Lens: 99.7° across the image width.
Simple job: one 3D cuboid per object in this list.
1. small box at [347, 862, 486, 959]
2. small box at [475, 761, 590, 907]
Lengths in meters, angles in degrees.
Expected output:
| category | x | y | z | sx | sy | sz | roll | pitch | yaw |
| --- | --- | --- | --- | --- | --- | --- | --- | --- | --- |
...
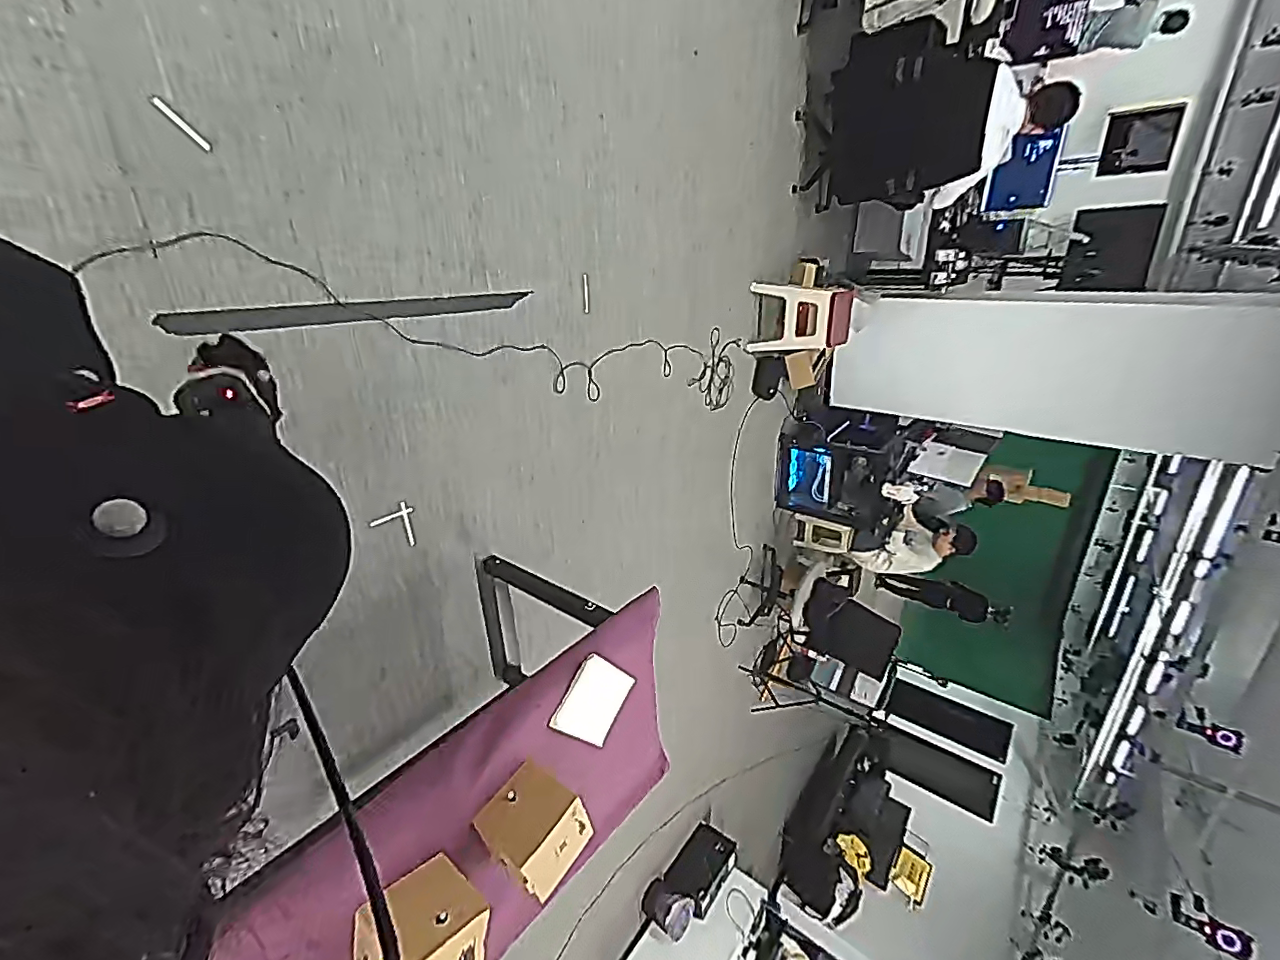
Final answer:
| category | x | y | z | sx | sy | sz | roll | pitch | yaw |
| --- | --- | --- | --- | --- | --- | --- | --- | --- | --- |
| small box | -0.415 | 0.866 | 1.000 | 0.179 | 0.176 | 0.168 | -6 | 108 | -52 |
| small box | -0.243 | 0.778 | 1.202 | 0.179 | 0.176 | 0.168 | -39 | 132 | -38 |
